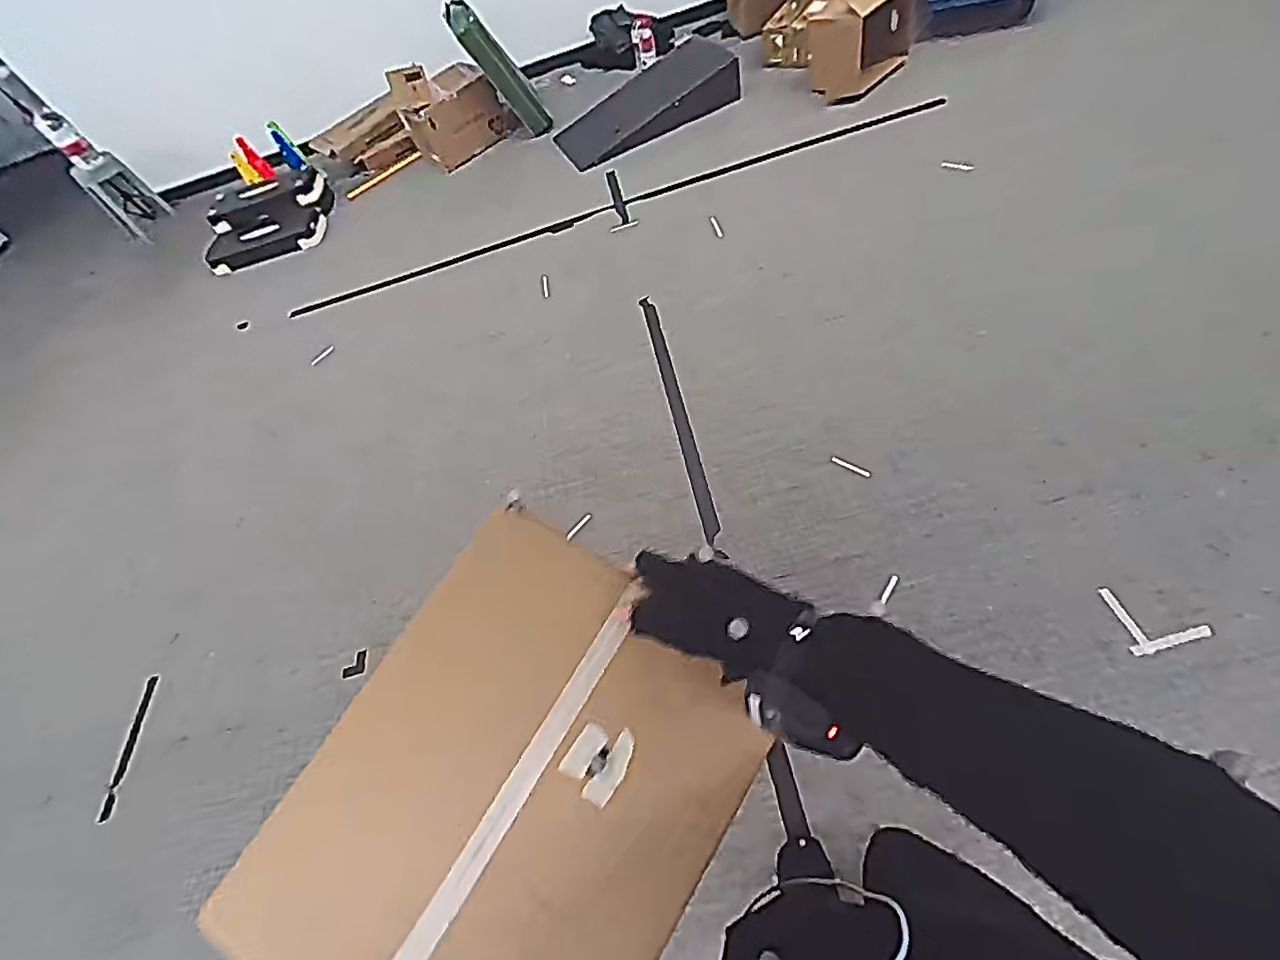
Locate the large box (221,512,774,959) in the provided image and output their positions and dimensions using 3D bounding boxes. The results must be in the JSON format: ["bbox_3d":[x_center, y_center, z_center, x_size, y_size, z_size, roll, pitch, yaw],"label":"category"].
[{"bbox_3d":[-0.105,0.310,0.591,0.320,0.320,0.408,29,76,9],"label":"large box"}]
